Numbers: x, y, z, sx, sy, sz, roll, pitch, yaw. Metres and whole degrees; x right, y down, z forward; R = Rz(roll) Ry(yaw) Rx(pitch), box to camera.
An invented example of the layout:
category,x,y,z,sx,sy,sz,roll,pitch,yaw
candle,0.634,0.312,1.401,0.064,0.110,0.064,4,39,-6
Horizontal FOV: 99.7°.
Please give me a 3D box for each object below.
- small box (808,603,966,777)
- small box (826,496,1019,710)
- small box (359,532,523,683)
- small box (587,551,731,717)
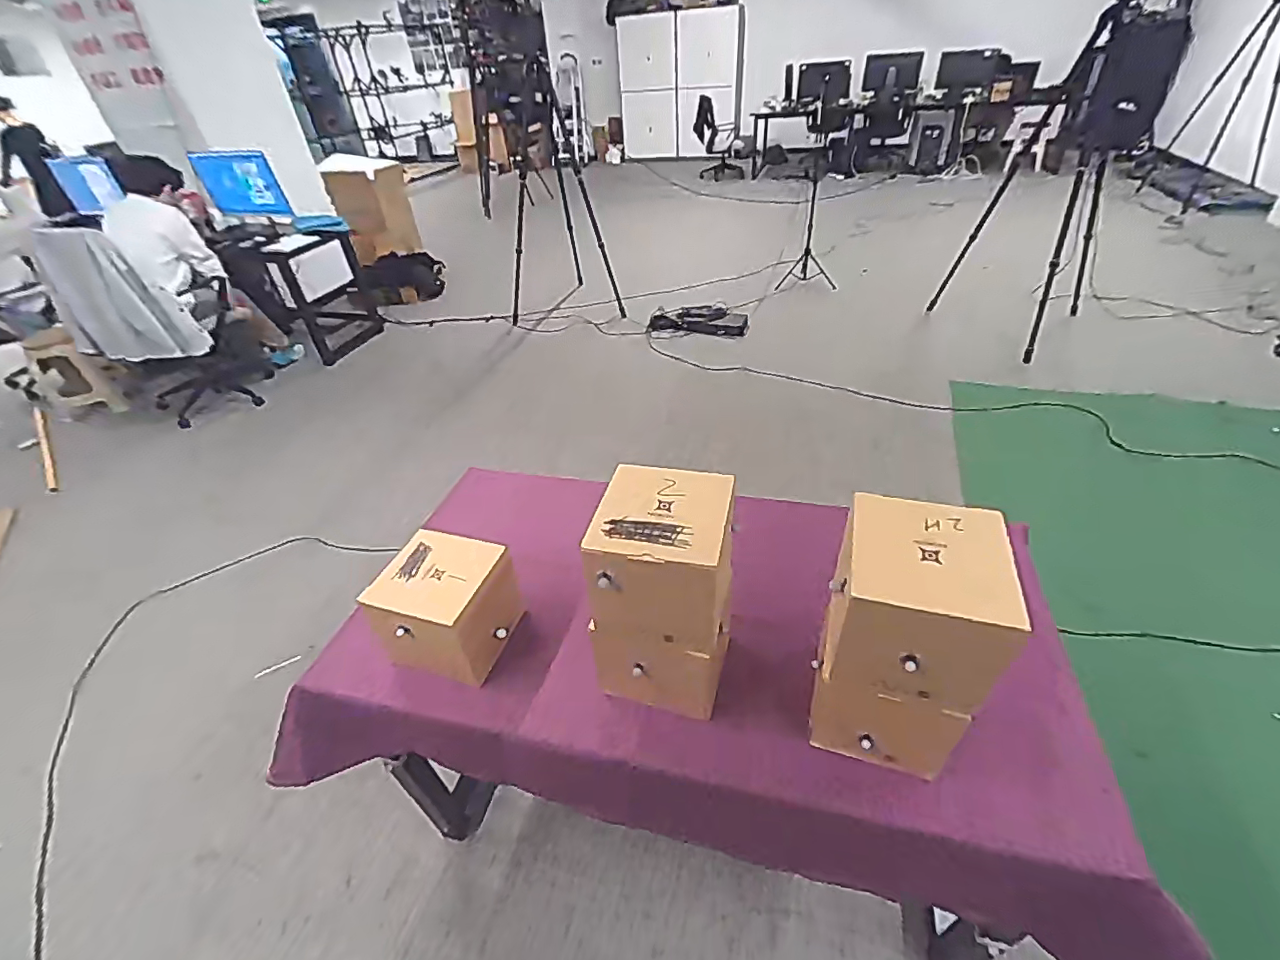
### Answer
category,x,y,z,sx,sy,sz,roll,pitch,yaw
small box,0.337,0.275,0.761,0.168,0.176,0.179,9,41,18
small box,0.326,0.147,0.658,0.168,0.176,0.179,9,41,16
small box,-0.321,0.214,0.909,0.179,0.176,0.168,9,40,16
small box,0.038,0.238,0.840,0.179,0.176,0.168,8,40,18
